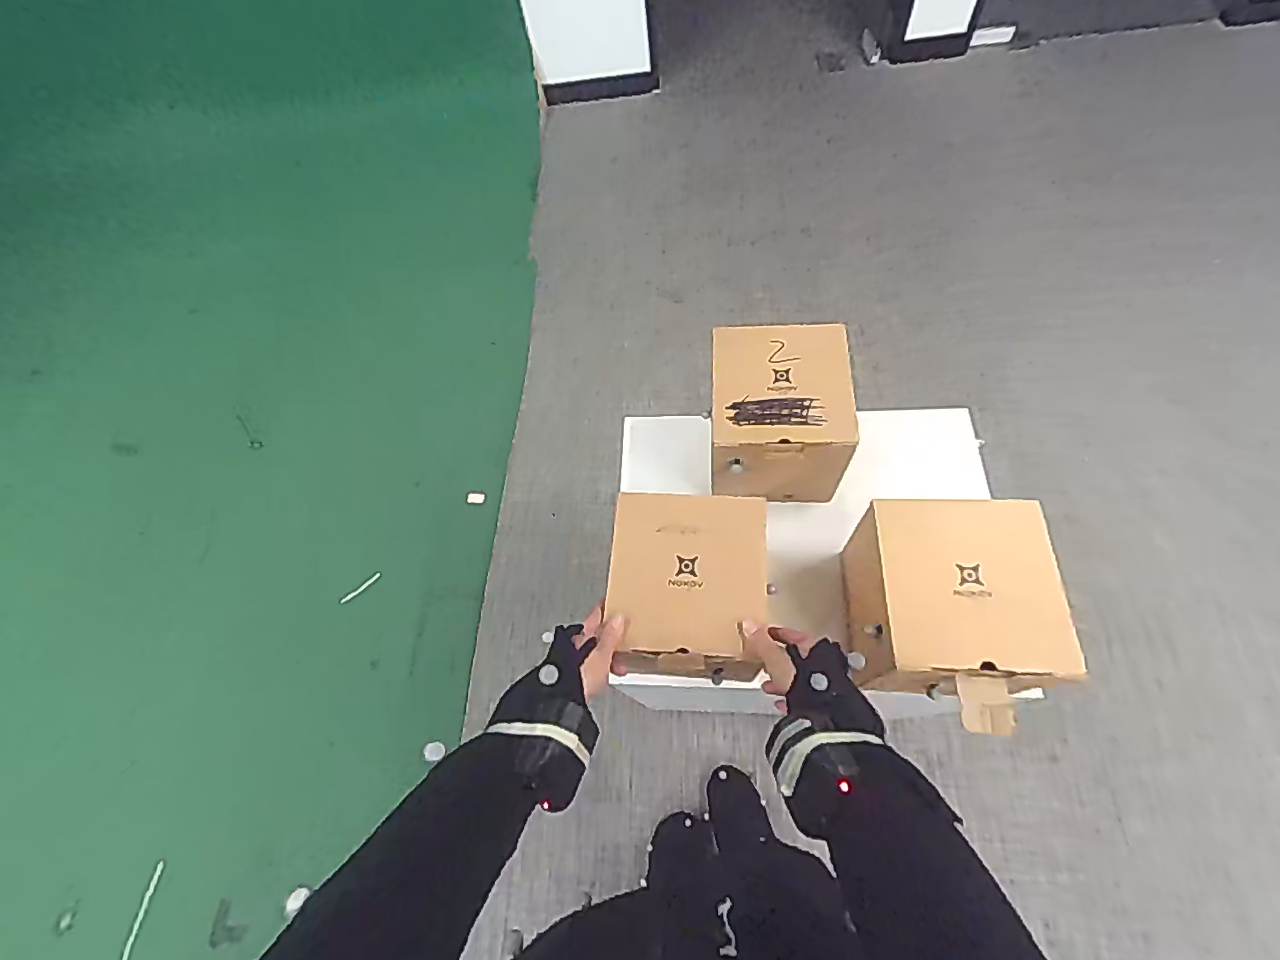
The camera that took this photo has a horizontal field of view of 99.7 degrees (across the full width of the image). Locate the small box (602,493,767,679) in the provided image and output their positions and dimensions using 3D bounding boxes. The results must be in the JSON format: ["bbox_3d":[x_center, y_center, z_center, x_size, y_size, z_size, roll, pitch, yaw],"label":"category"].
[{"bbox_3d":[0.058,0.130,0.632,0.168,0.176,0.179,2,63,7],"label":"small box"}]

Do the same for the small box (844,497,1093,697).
[{"bbox_3d":[0.332,0.133,0.594,0.168,0.176,0.179,0,63,8],"label":"small box"}]
